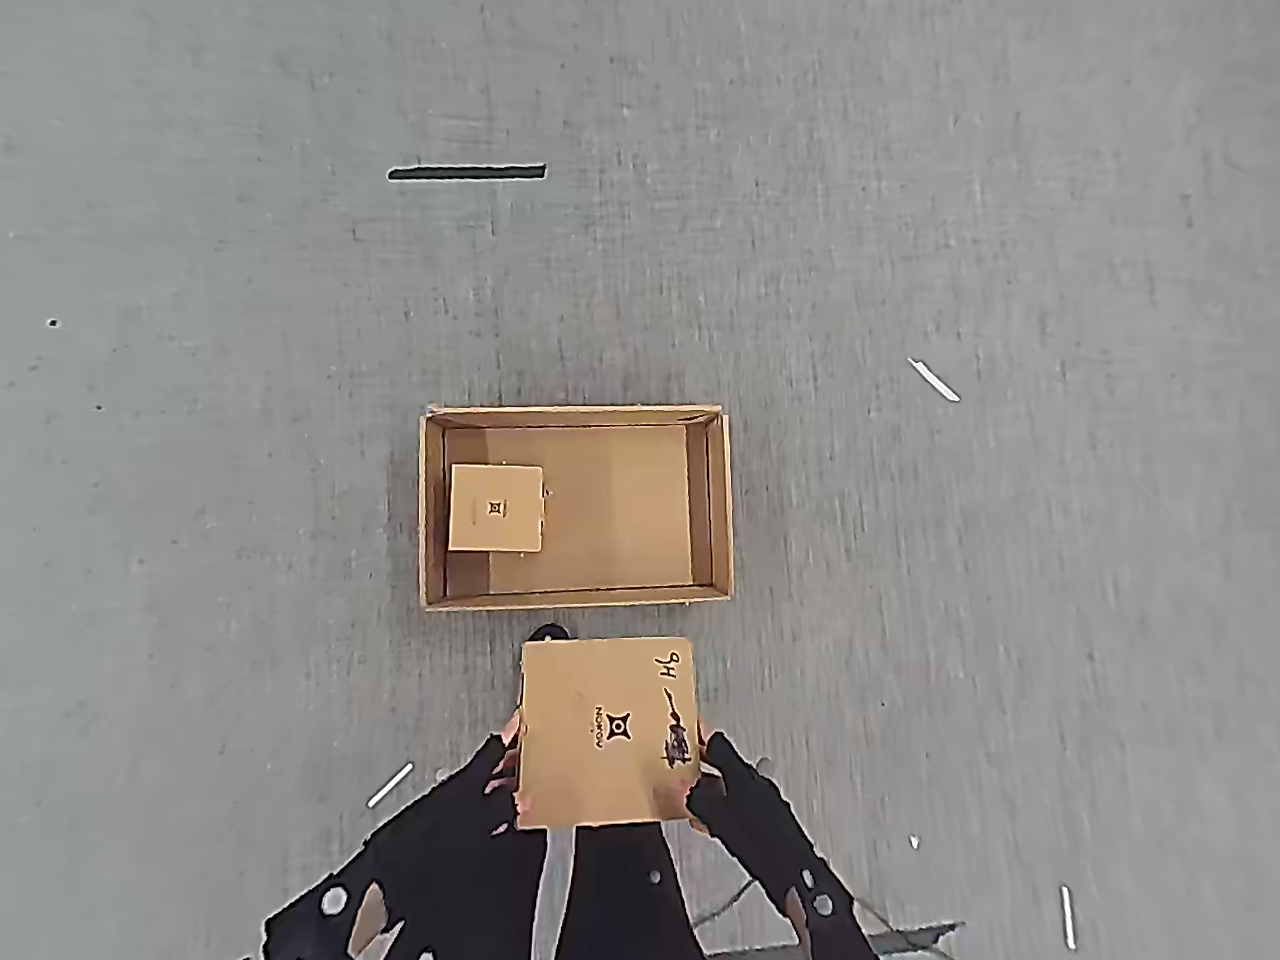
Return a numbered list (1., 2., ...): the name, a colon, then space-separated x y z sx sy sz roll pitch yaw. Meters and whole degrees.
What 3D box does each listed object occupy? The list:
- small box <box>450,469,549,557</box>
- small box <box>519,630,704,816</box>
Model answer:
1. small box: -0.280 0.069 1.114 0.179 0.176 0.168 1 85 -6
2. small box: -0.033 0.266 0.605 0.179 0.176 0.168 -1 67 -5
